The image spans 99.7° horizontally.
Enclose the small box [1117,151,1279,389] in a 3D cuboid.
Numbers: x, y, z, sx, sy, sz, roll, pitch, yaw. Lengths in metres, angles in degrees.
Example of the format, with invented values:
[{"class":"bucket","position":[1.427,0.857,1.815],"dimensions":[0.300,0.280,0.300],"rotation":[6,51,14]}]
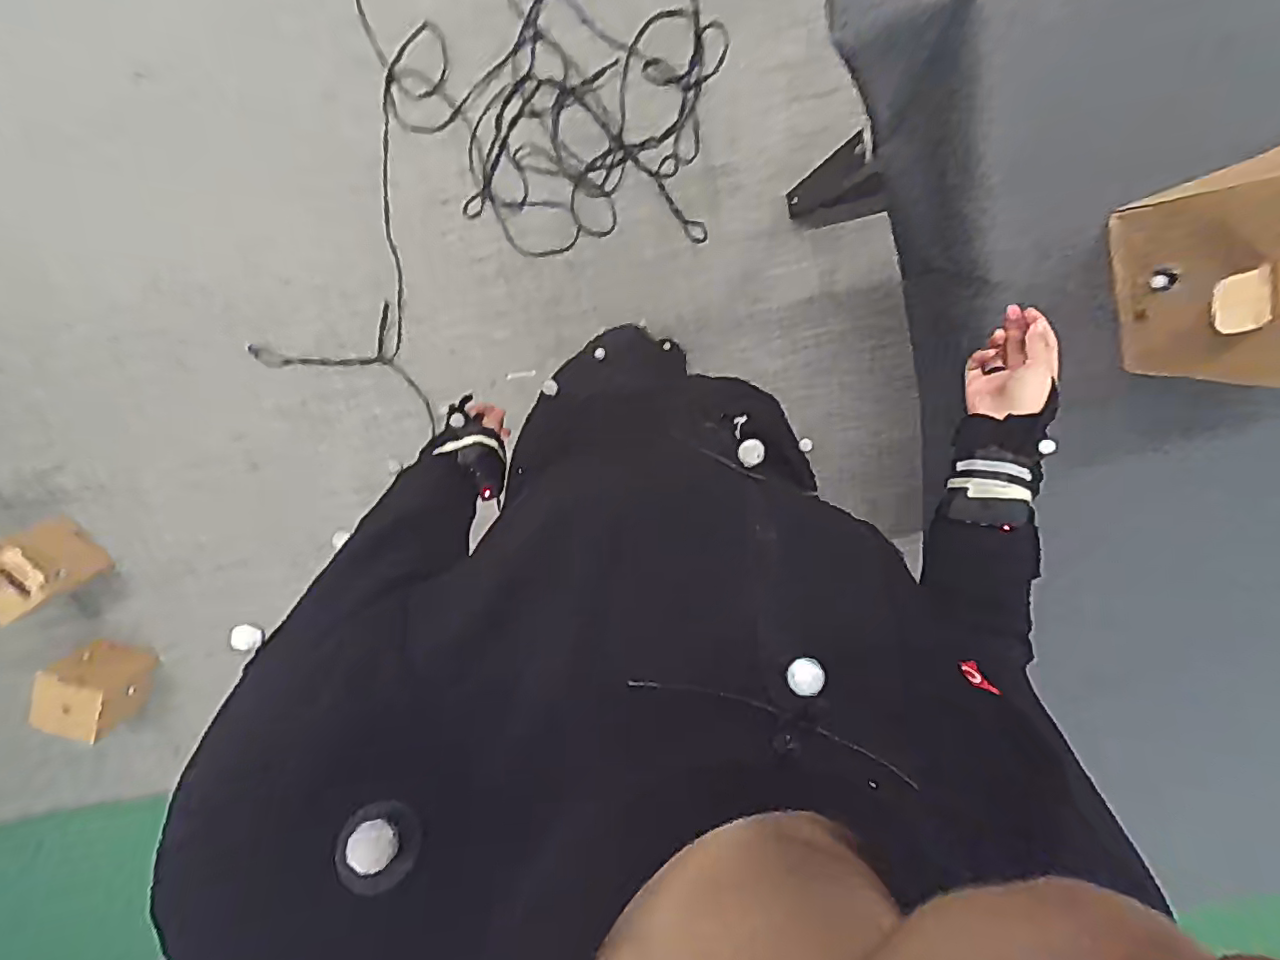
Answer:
[{"class":"small box","position":[0.571,-0.193,0.463],"dimensions":[0.179,0.176,0.168],"rotation":[-20,106,6]}]

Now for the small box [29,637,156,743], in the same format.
[{"class":"small box","position":[-1.449,0.553,1.443],"dimensions":[0.168,0.176,0.179],"rotation":[23,106,-6]}]
